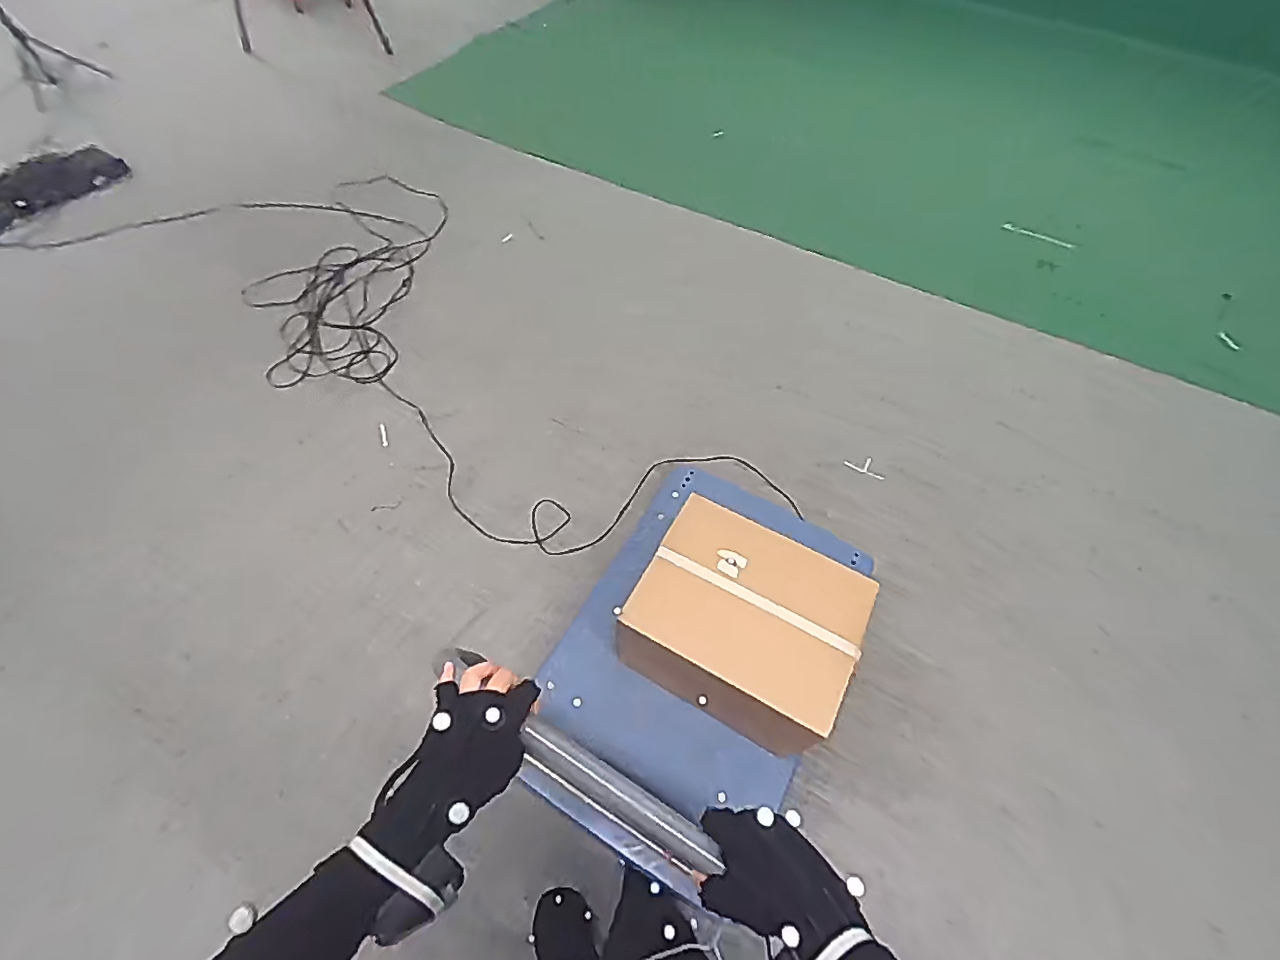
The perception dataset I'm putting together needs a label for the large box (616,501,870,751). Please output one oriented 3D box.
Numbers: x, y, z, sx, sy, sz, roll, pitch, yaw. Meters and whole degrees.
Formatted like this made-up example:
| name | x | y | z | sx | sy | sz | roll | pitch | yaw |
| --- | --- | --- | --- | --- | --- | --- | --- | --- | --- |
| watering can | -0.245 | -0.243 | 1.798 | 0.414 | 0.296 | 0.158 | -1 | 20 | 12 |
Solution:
| name | x | y | z | sx | sy | sz | roll | pitch | yaw |
| --- | --- | --- | --- | --- | --- | --- | --- | --- | --- |
| large box | 0.201 | 0.312 | 1.141 | 0.408 | 0.320 | 0.320 | 25 | 60 | 15 |
